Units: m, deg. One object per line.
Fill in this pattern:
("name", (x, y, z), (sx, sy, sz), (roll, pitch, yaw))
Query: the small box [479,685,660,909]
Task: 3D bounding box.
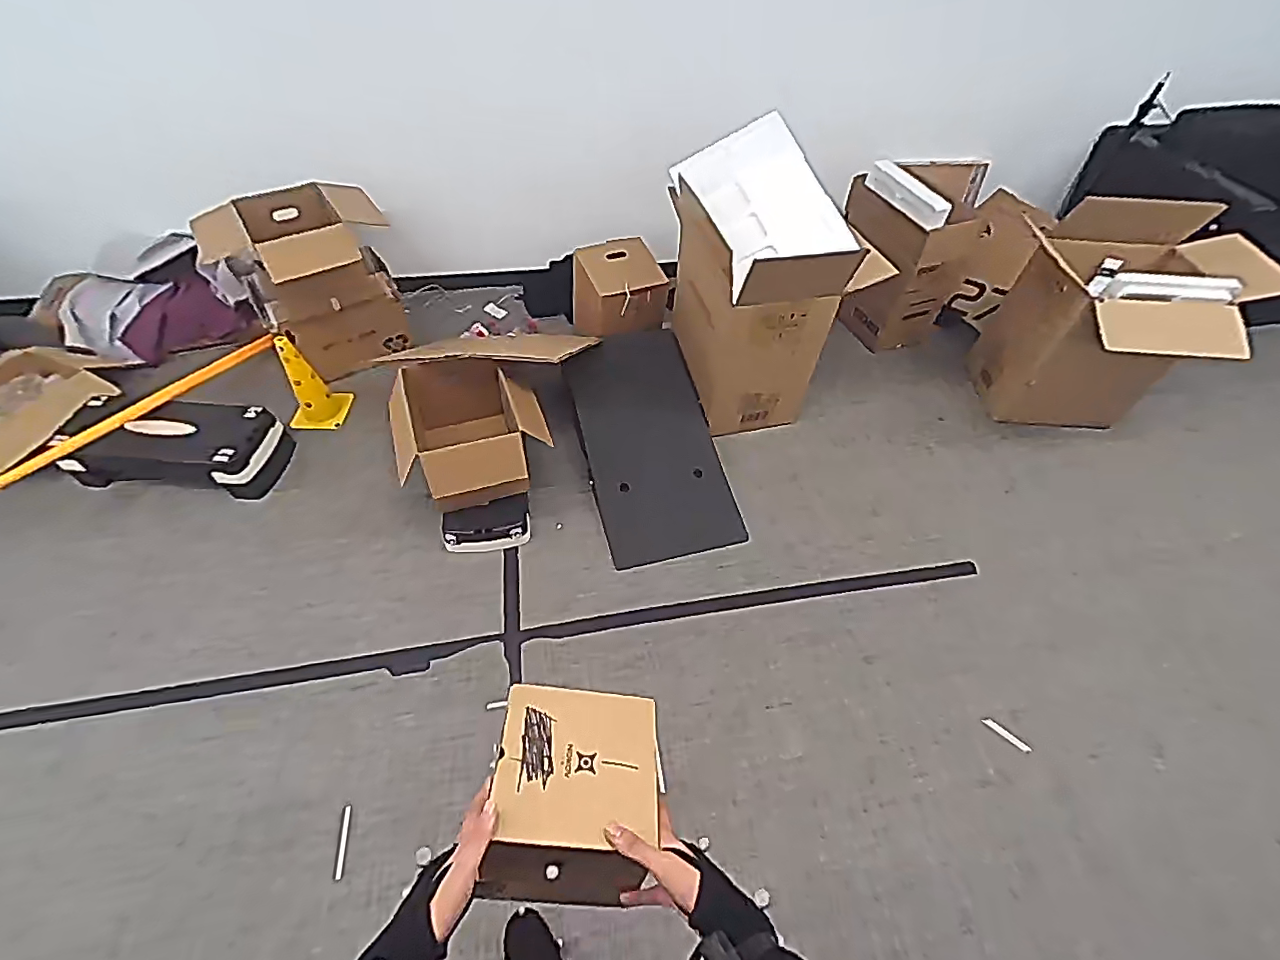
("small box", (-0.079, 0.363, 0.619), (0.179, 0.176, 0.168), (10, 36, -6))
